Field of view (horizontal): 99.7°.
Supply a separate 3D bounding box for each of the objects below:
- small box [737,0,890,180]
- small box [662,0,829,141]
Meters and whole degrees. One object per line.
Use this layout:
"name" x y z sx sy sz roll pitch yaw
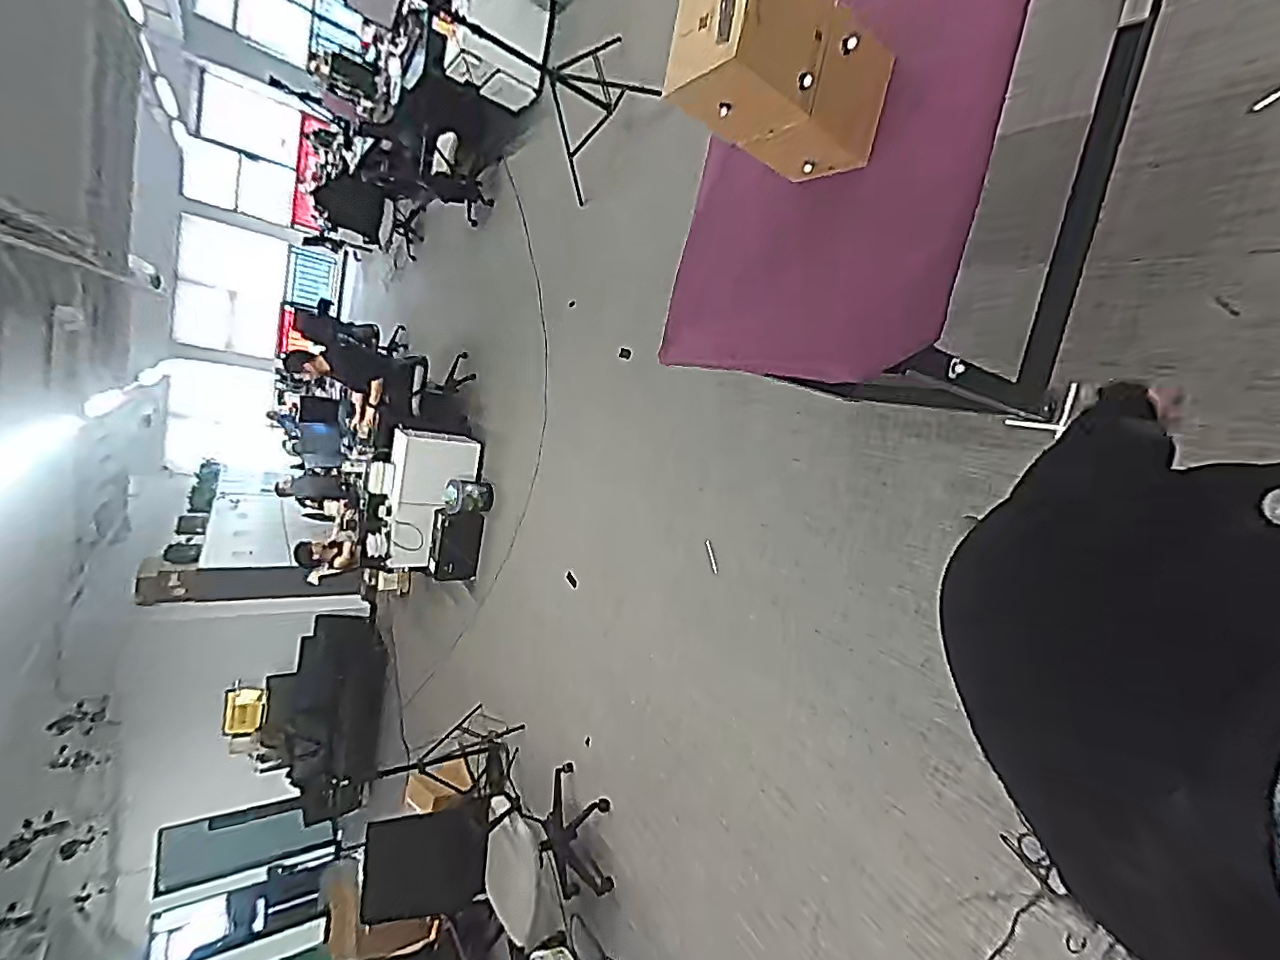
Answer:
"small box" 0.300 -0.653 0.933 0.168 0.176 0.179 25 106 53
"small box" 0.163 -0.667 0.842 0.179 0.176 0.168 22 103 53
